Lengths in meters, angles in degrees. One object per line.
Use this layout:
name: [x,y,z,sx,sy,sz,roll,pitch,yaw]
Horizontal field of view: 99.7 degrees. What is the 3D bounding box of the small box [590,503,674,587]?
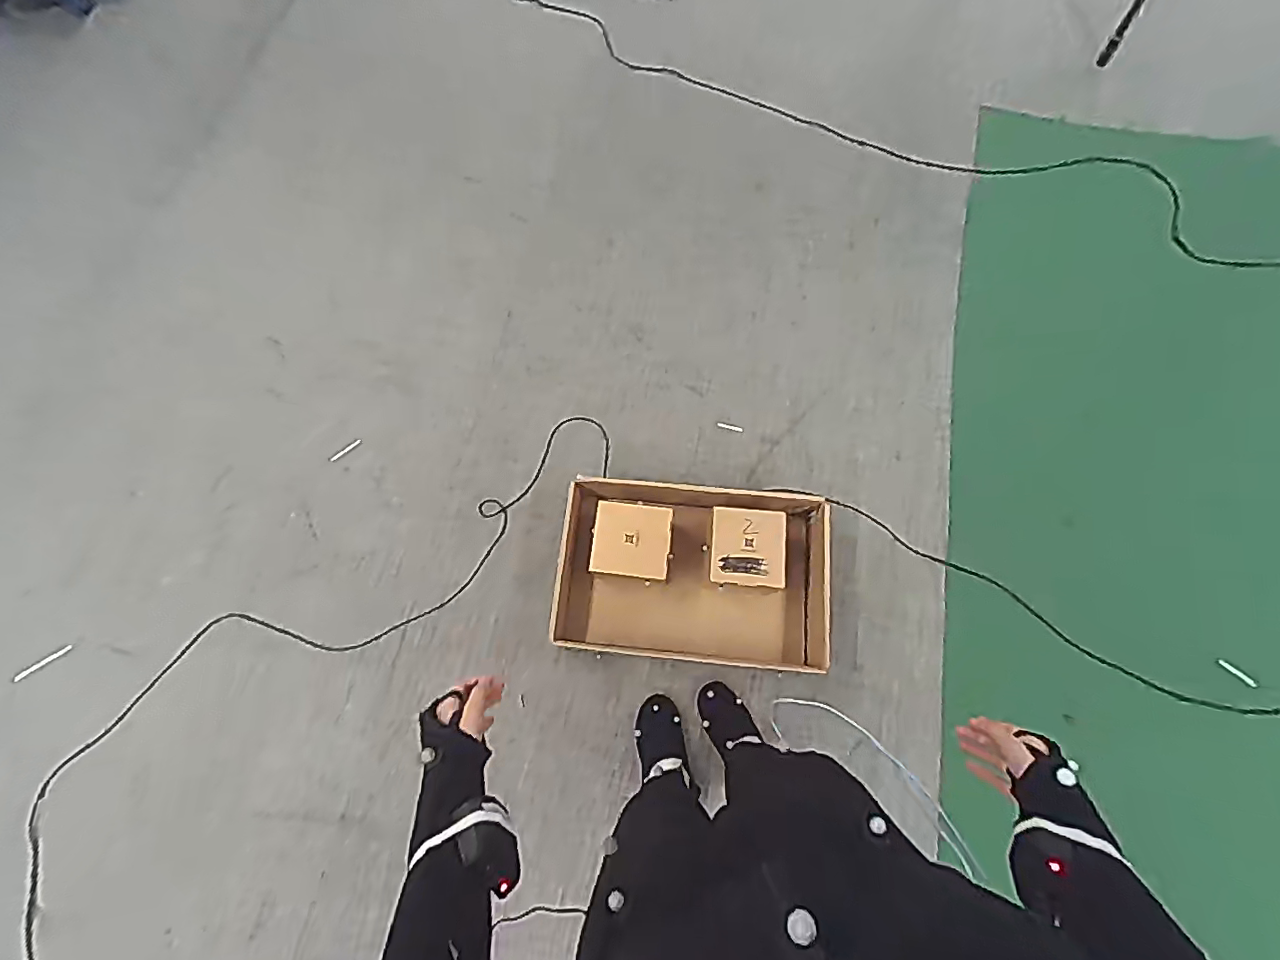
small box: [-0.015,0.162,1.301,0.179,0.176,0.168,6,74,2]
